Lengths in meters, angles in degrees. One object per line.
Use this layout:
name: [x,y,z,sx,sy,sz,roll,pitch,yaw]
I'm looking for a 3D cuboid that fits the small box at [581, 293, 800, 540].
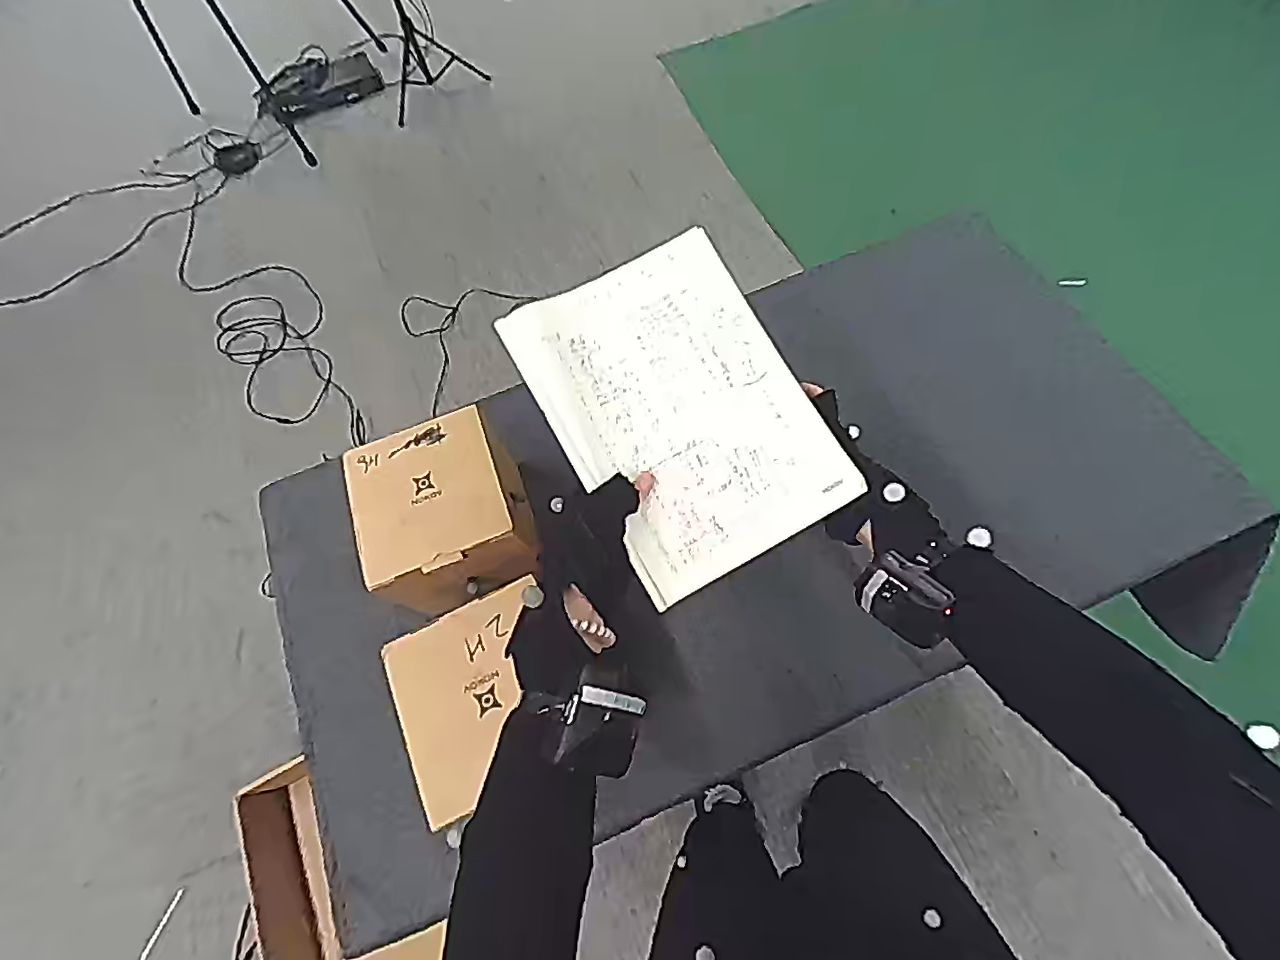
small box: [0.047,-0.060,0.584,0.168,0.176,0.179,-19,64,-3]
